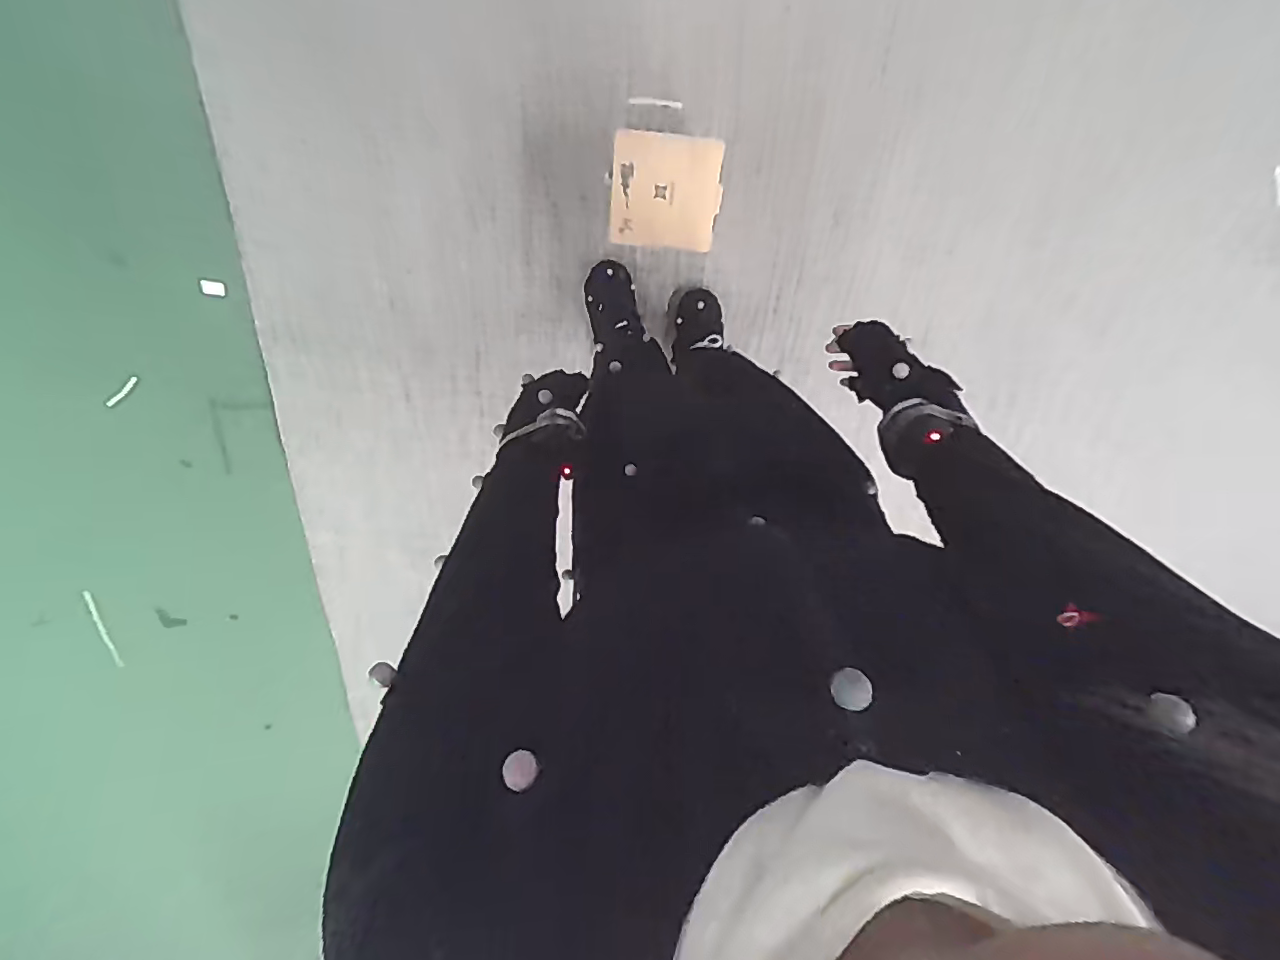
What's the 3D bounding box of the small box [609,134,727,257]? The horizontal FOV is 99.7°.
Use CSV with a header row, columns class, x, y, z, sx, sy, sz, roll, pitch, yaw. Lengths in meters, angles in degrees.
class,x,y,z,sx,sy,sz,roll,pitch,yaw
small box,0.039,-0.498,0.953,0.179,0.176,0.168,4,117,-5
